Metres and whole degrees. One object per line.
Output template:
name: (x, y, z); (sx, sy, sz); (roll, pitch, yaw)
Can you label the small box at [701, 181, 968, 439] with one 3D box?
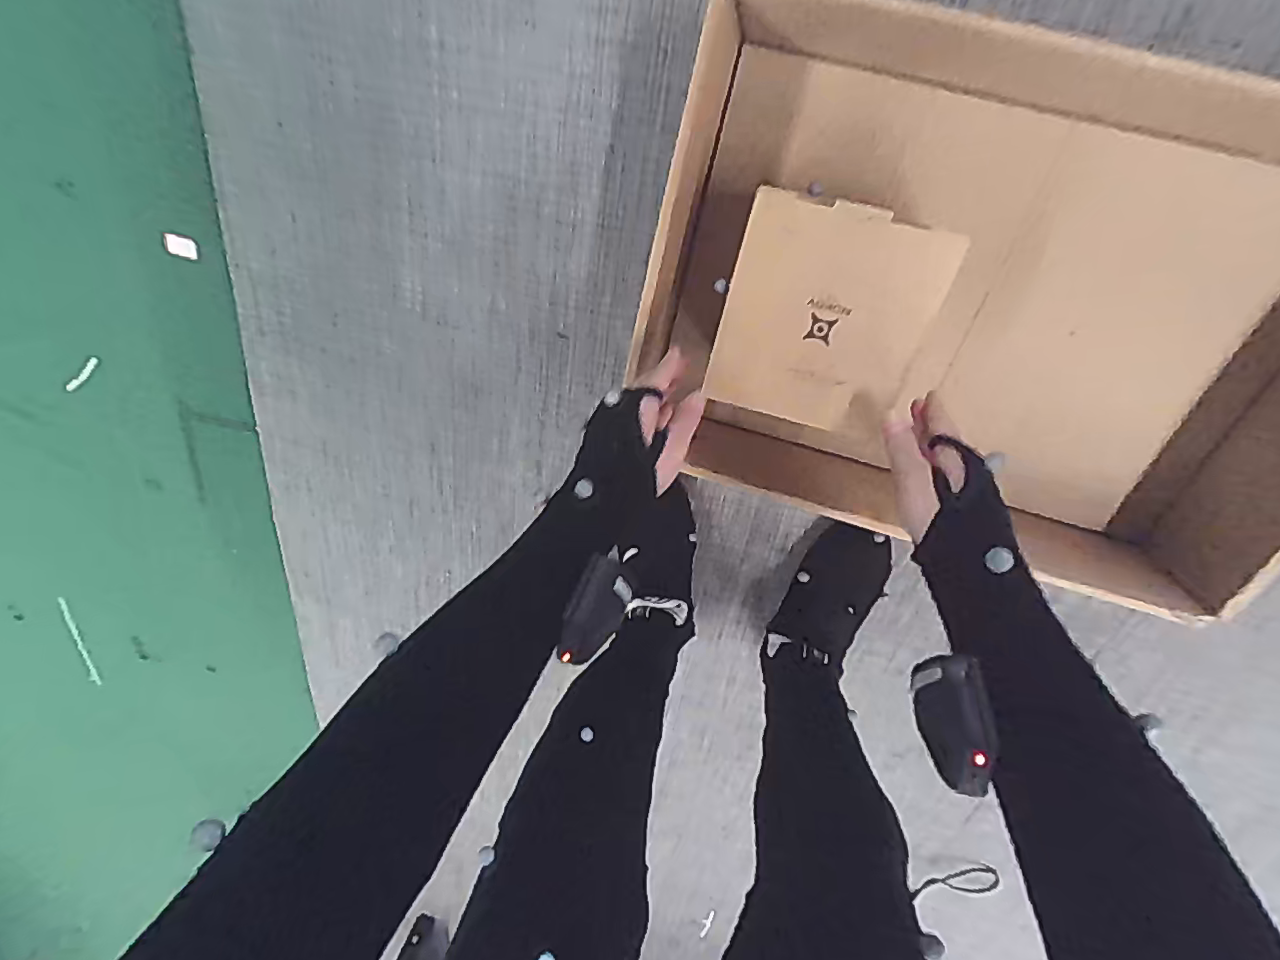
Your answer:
small box: (0.167, -0.166, 0.518); (0.168, 0.176, 0.179); (17, 118, 6)
